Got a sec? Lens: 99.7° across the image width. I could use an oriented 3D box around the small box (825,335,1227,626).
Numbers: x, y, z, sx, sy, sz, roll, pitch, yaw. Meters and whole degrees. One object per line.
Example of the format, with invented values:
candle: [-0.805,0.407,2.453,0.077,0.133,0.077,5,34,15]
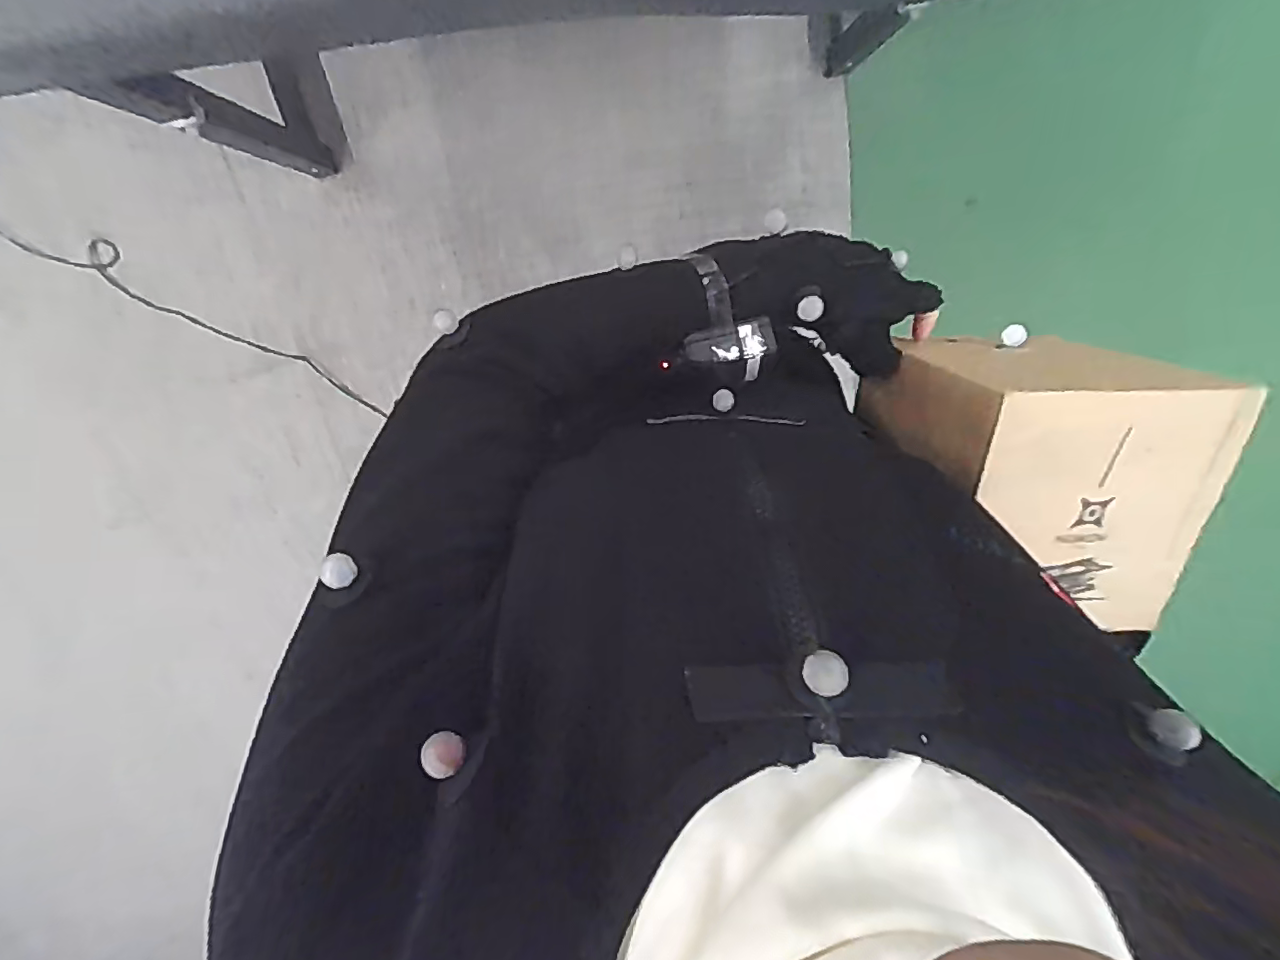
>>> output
small box: [0.264,-0.007,0.426,0.168,0.176,0.179,1,115,-5]
